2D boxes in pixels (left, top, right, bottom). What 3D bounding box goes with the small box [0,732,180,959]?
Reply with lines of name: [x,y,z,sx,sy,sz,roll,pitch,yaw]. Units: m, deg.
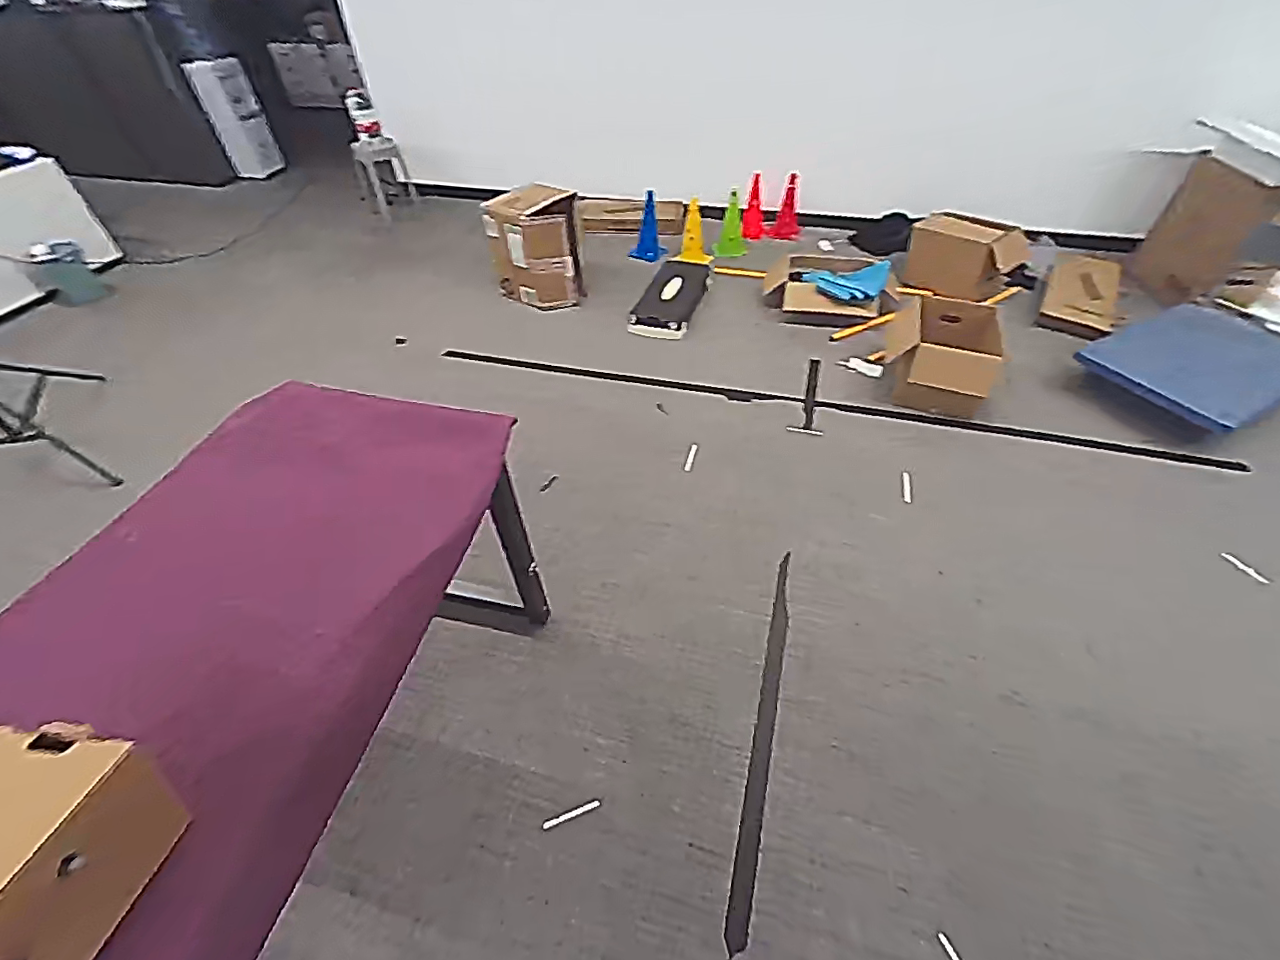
small box: [-0.628,0.388,0.545,0.168,0.176,0.179,6,34,2]
